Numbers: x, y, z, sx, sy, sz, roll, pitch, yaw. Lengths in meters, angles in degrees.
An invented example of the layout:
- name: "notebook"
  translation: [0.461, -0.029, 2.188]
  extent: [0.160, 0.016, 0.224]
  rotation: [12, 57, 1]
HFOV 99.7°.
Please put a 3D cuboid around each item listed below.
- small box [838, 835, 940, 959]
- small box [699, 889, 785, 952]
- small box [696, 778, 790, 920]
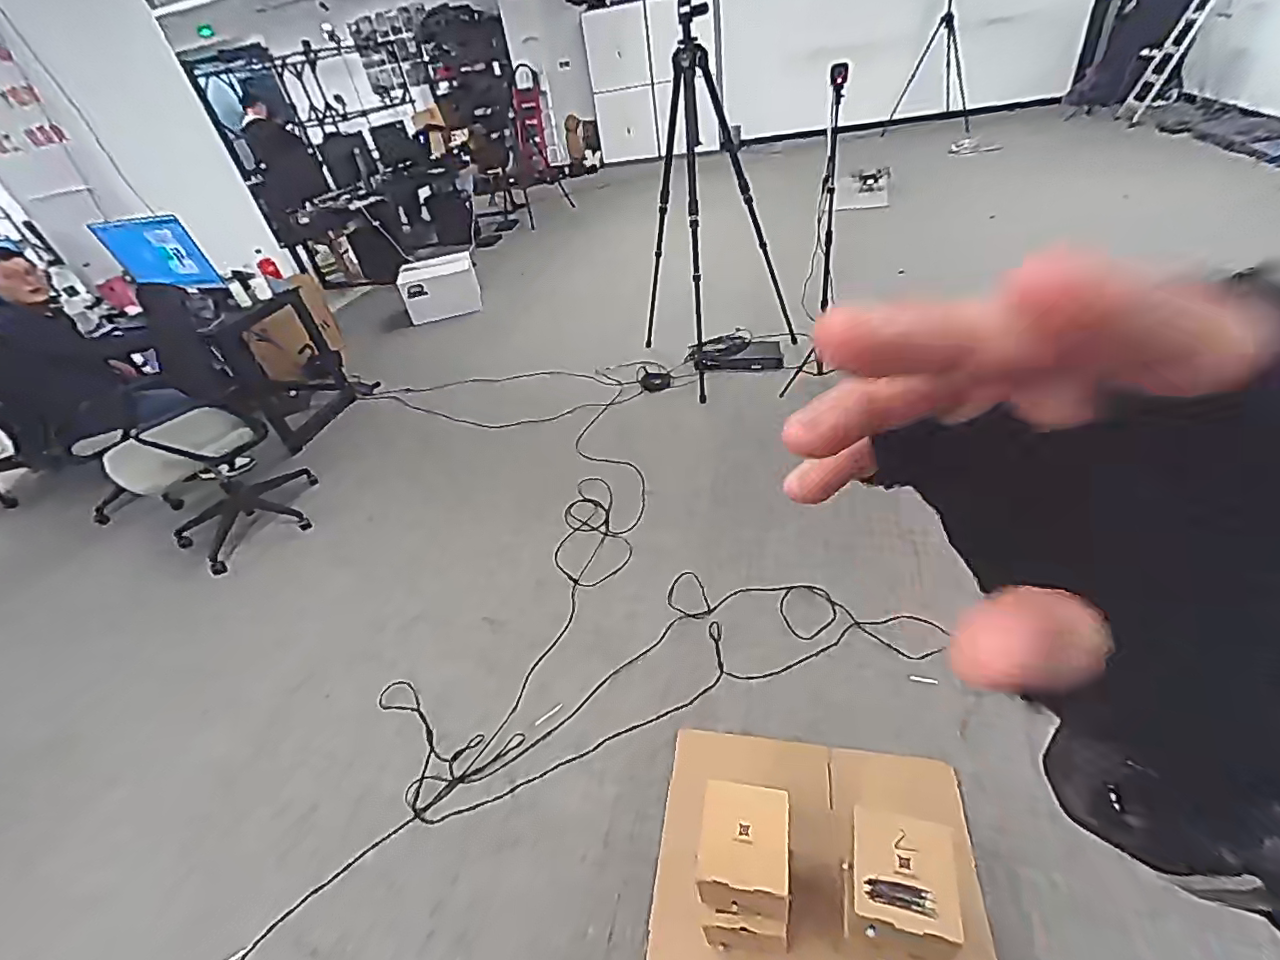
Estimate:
- name: "small box"
  translation: [0.495, 0.866, 1.097]
  extent: [0.168, 0.176, 0.179]
  rotation: [3, 42, 19]
- name: "small box"
  translation: [0.222, 0.871, 1.154]
  extent: [0.168, 0.176, 0.179]
  rotation: [-1, 40, 13]
- name: "small box"
  translation: [0.208, 0.729, 1.071]
  extent: [0.168, 0.176, 0.179]
  rotation: [1, 40, 15]
